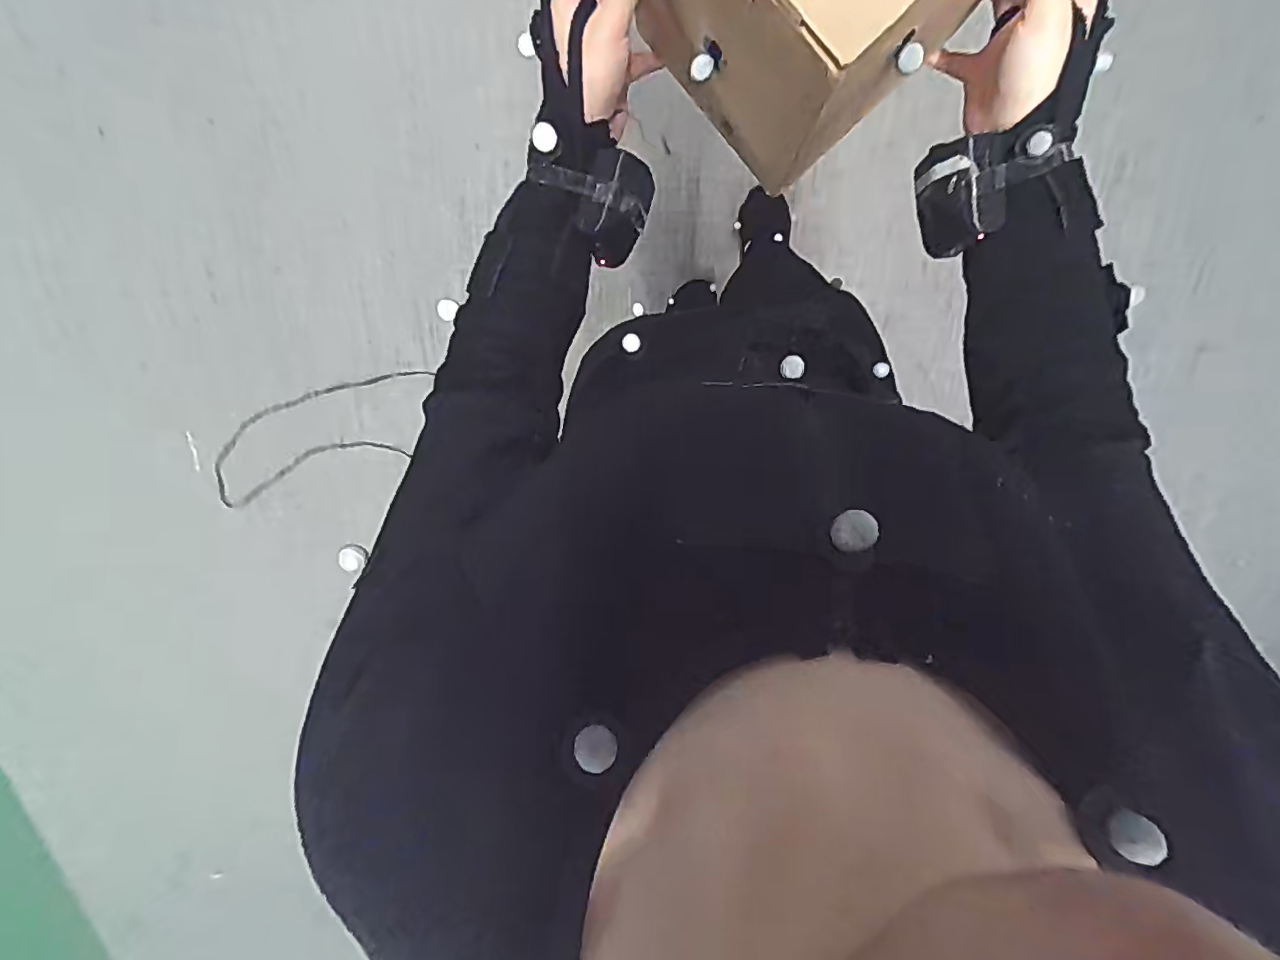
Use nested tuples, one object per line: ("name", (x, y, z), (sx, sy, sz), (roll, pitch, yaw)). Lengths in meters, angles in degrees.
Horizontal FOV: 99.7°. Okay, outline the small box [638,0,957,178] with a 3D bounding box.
("small box", (0.104, -0.329, 0.327), (0.179, 0.176, 0.168), (-42, 94, 9))
